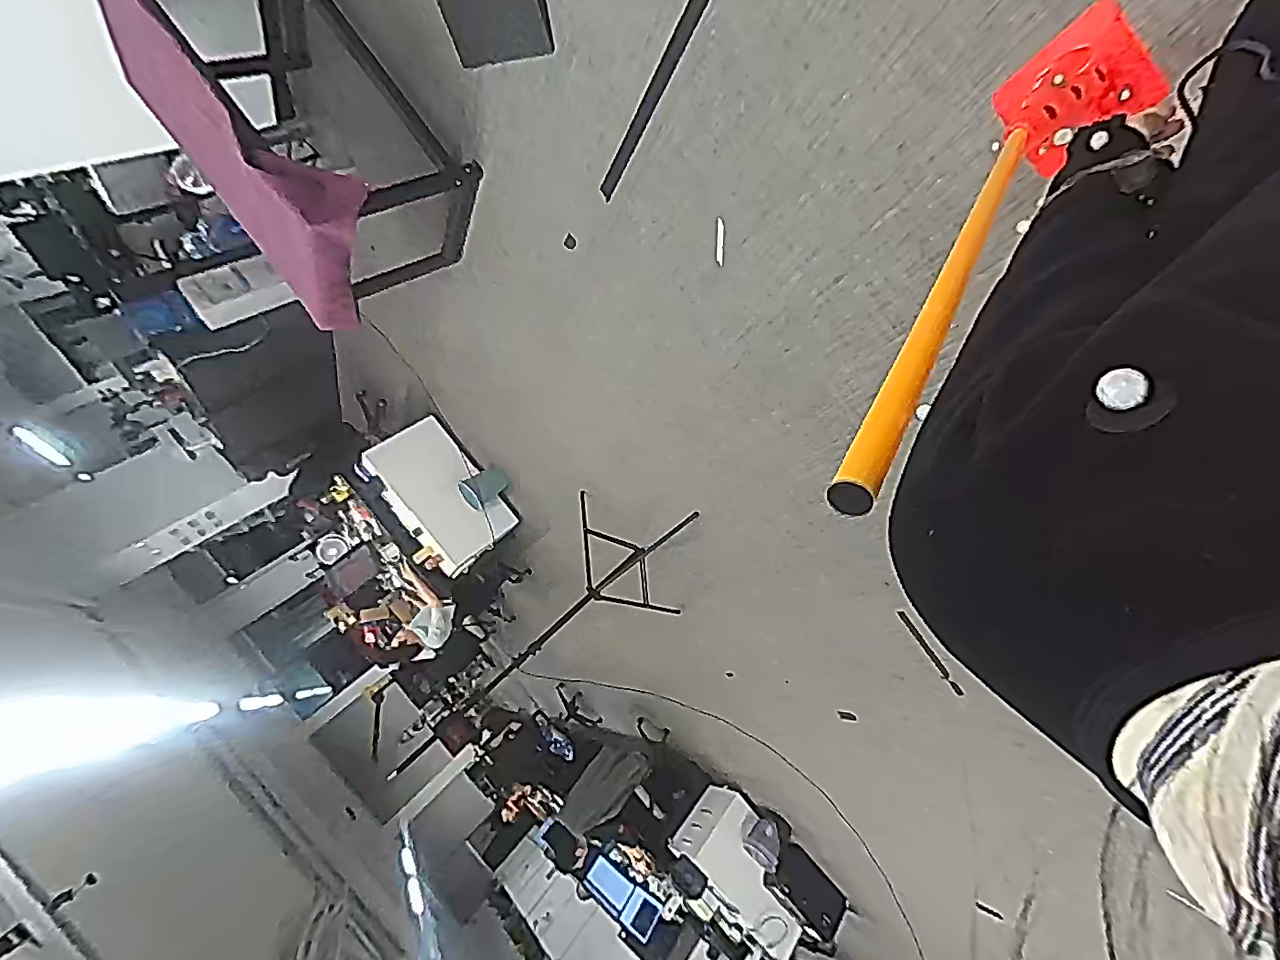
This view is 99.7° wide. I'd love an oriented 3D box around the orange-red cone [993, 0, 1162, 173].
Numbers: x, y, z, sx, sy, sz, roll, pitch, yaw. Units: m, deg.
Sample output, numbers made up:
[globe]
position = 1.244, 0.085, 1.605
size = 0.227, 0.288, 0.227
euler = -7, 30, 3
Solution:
[orange-red cone]
position = 0.657, -0.599, 0.874
size = 0.199, 0.360, 0.198
euler = 54, 148, -5
